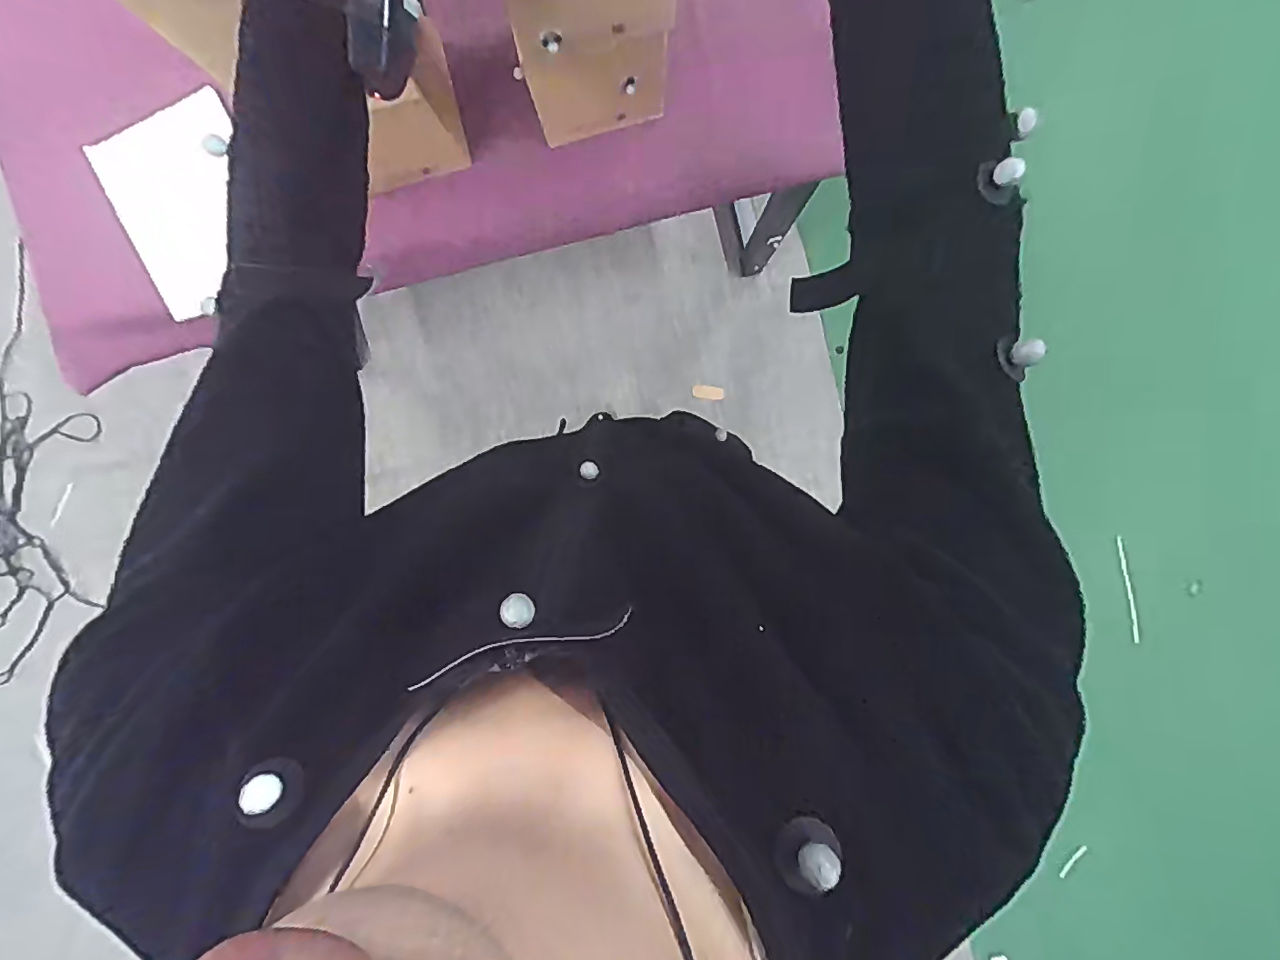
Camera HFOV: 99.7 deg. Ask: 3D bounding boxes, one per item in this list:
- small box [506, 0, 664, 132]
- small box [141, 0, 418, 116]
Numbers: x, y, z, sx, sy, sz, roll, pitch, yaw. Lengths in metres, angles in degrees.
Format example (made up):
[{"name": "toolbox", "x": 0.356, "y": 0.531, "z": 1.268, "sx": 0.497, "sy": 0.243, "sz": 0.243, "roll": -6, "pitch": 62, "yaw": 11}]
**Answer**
[{"name": "small box", "x": -0.067, "y": -0.559, "z": 0.656, "sx": 0.168, "sy": 0.176, "sz": 0.179, "roll": -13, "pitch": 93, "yaw": 1}, {"name": "small box", "x": -0.332, "y": -0.477, "z": 0.502, "sx": 0.168, "sy": 0.176, "sz": 0.179, "roll": -13, "pitch": 93, "yaw": 2}]
